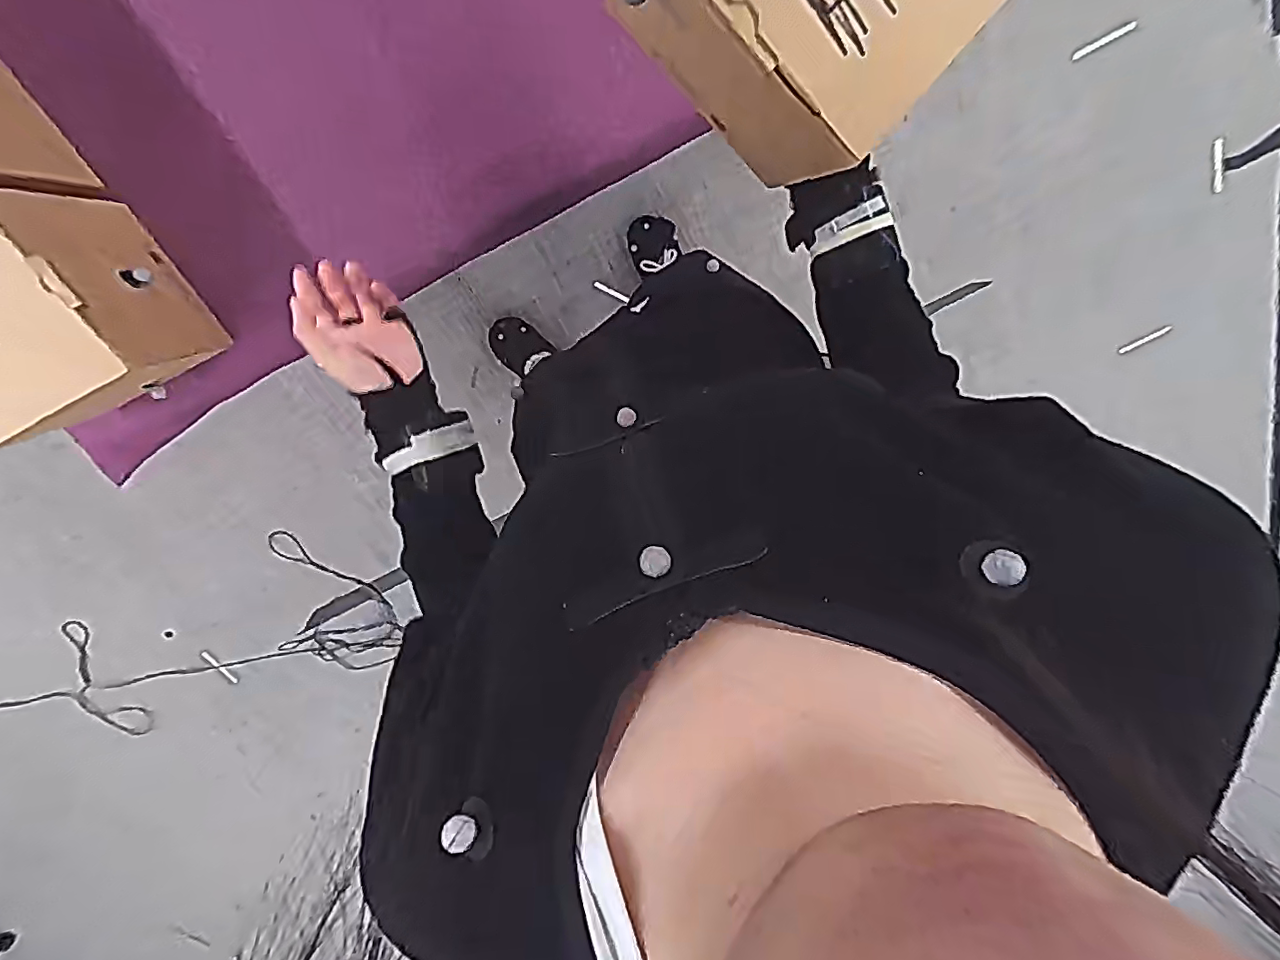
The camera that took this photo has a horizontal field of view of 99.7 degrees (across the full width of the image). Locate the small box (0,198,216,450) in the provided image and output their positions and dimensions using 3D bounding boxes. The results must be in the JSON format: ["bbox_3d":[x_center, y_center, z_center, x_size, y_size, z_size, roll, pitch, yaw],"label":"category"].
[{"bbox_3d":[-0.569,-0.156,0.528,0.179,0.176,0.168,-27,113,3],"label":"small box"}]
